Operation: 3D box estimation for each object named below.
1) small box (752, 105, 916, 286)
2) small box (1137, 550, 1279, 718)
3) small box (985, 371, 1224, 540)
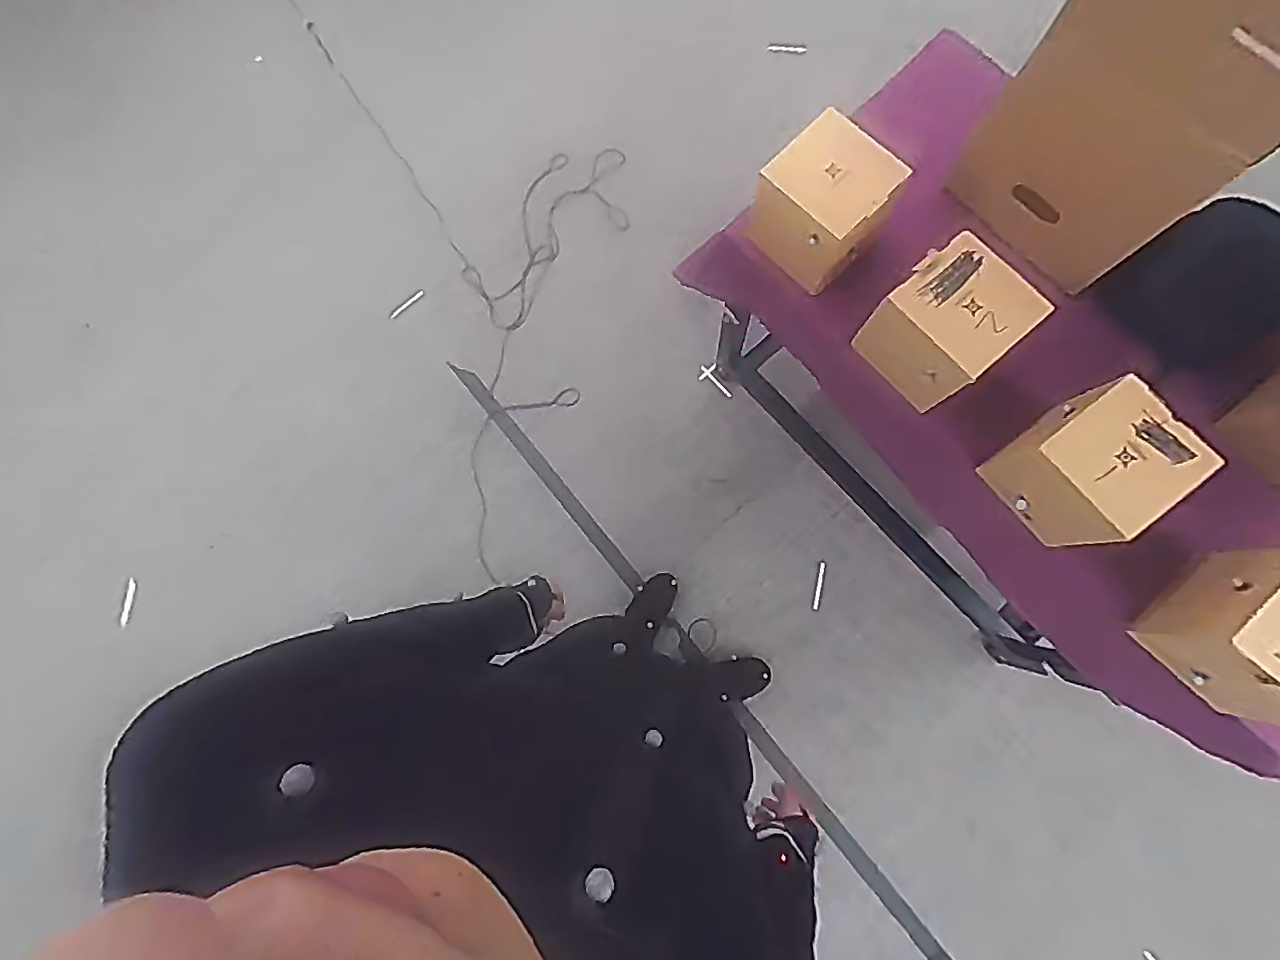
[{"bbox_3d":[0.313,-0.469,0.917,0.168,0.176,0.179,-44,81,-4],"label":"small box"},{"bbox_3d":[0.873,0.209,0.756,0.179,0.176,0.168,-43,79,-3],"label":"small box"},{"bbox_3d":[0.675,-0.027,0.813,0.179,0.176,0.168,-38,79,-2],"label":"small box"}]
